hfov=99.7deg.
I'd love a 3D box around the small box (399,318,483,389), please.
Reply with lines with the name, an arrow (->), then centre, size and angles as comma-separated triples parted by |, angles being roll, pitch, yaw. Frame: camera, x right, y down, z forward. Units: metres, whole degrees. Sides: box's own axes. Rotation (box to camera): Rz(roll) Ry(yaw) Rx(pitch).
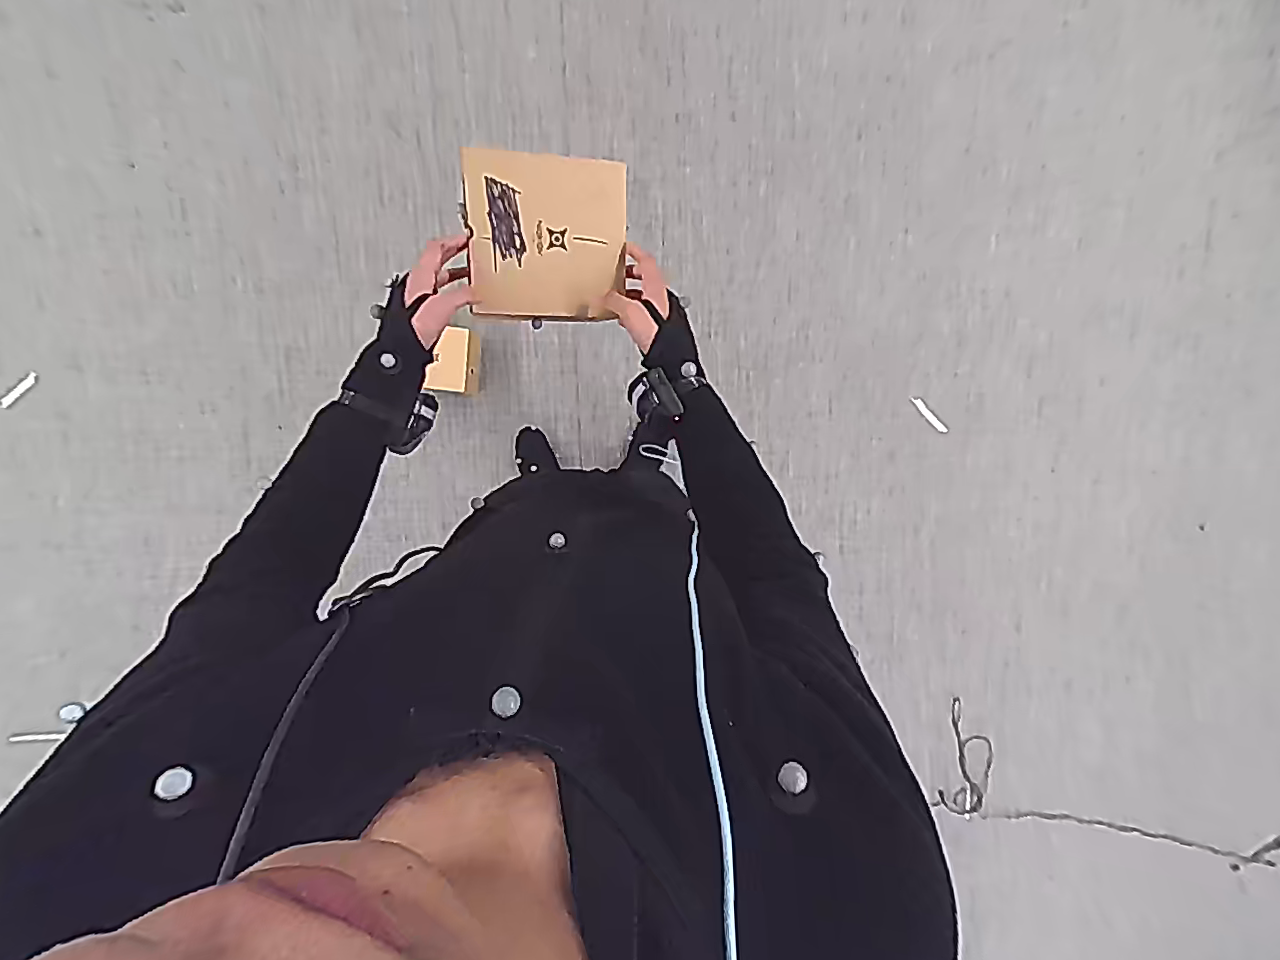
small box -> -0.536, -0.340, 1.479 | 0.179, 0.176, 0.168 | 6, 97, -4

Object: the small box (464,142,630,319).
small box -> -0.117, -0.288, 0.664 | 0.179, 0.176, 0.168 | -3, 105, -16
